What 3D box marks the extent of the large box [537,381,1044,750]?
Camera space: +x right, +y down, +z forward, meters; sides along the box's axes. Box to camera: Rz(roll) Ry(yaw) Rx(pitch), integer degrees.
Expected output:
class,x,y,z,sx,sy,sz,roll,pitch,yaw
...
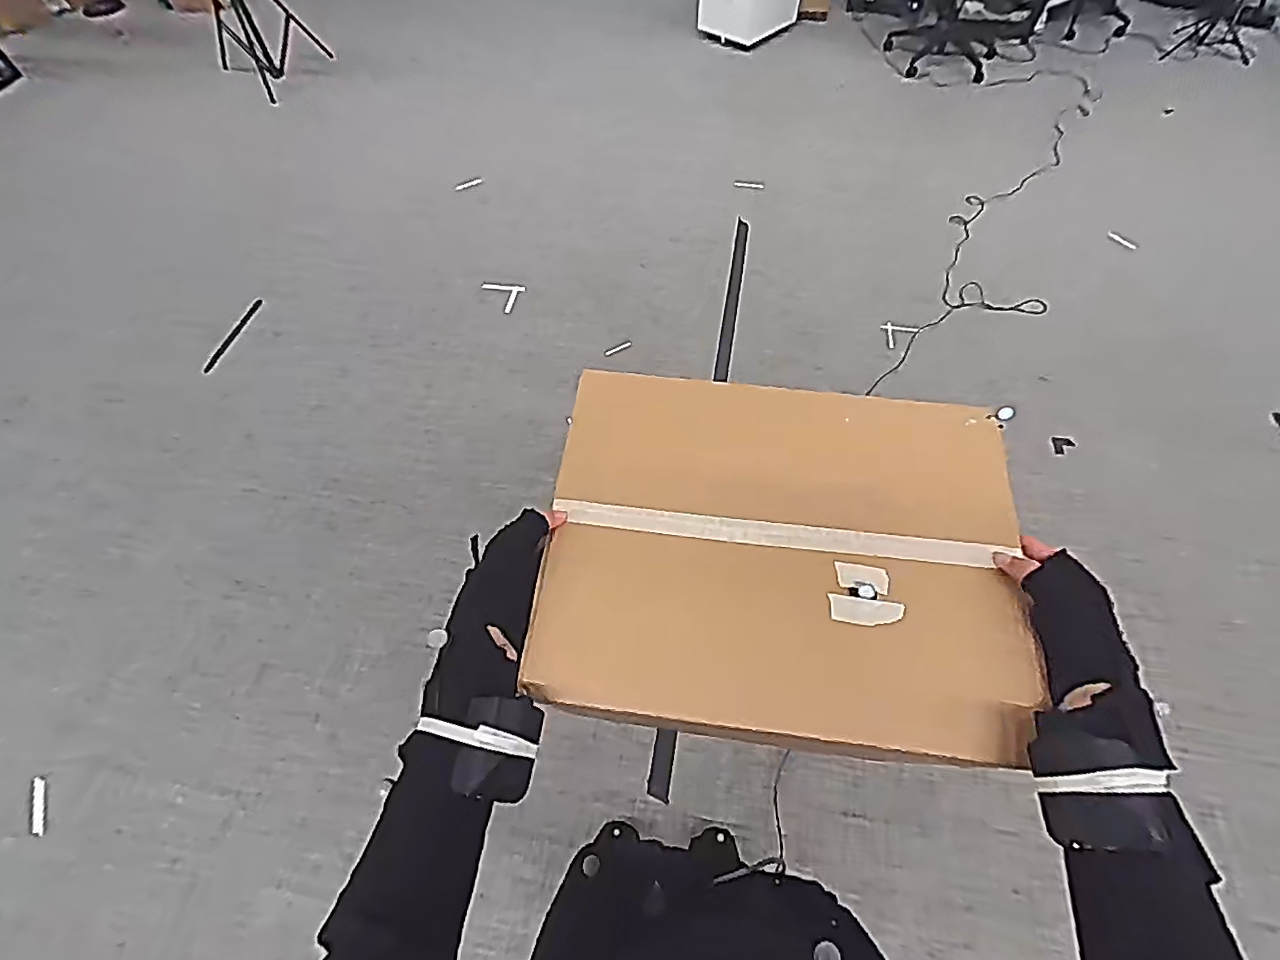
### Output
class,x,y,z,sx,sy,sz,roll,pitch,yaw
large box,0.127,0.115,0.618,0.408,0.320,0.320,6,65,3
